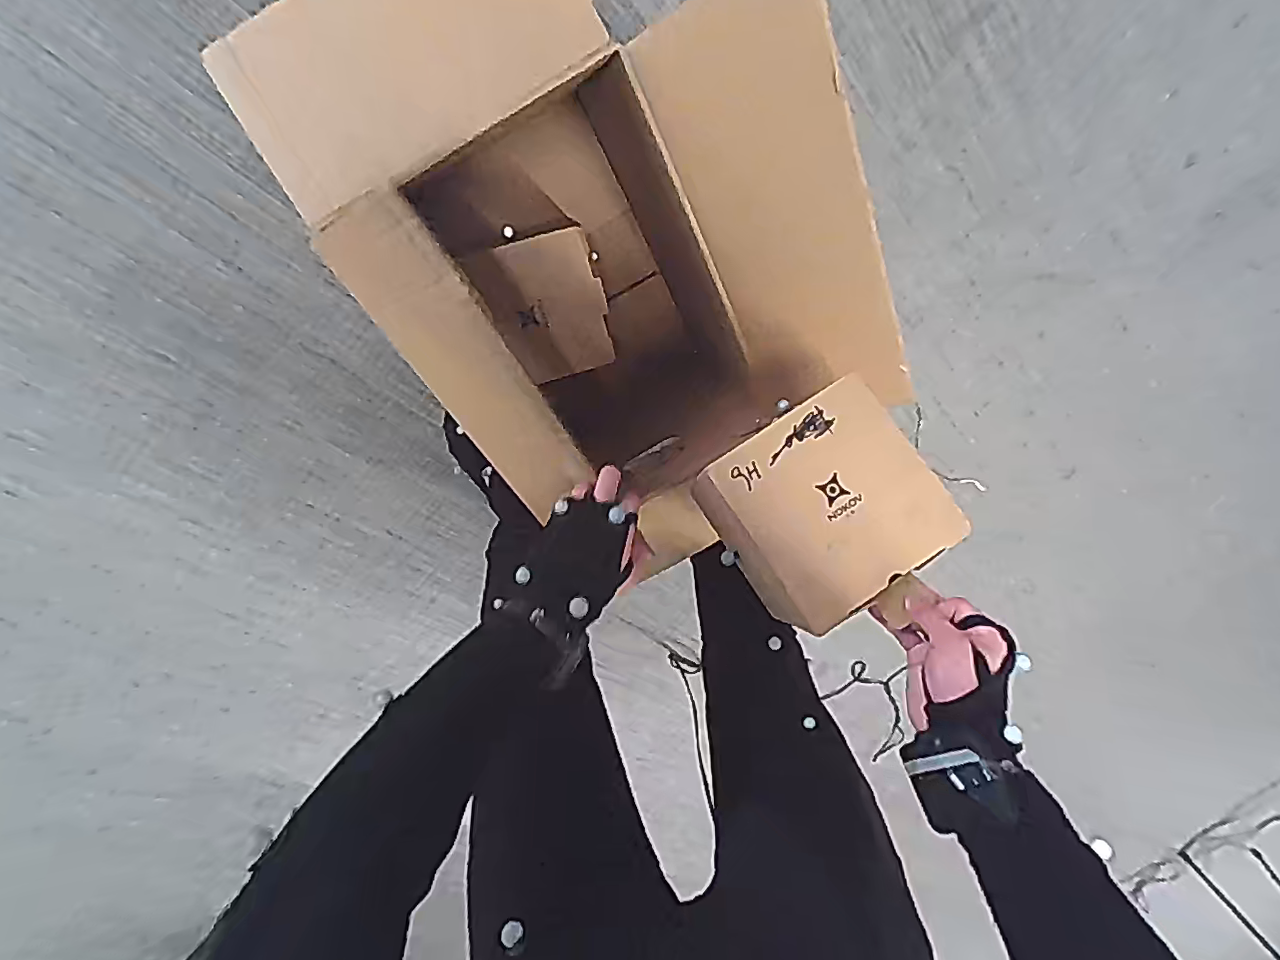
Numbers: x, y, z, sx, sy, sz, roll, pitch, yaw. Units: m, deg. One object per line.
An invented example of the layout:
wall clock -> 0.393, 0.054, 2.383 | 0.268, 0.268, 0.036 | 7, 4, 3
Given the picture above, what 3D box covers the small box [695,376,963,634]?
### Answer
small box -> 0.172, 0.029, 0.557 | 0.168, 0.176, 0.179 | -35, 82, -3
